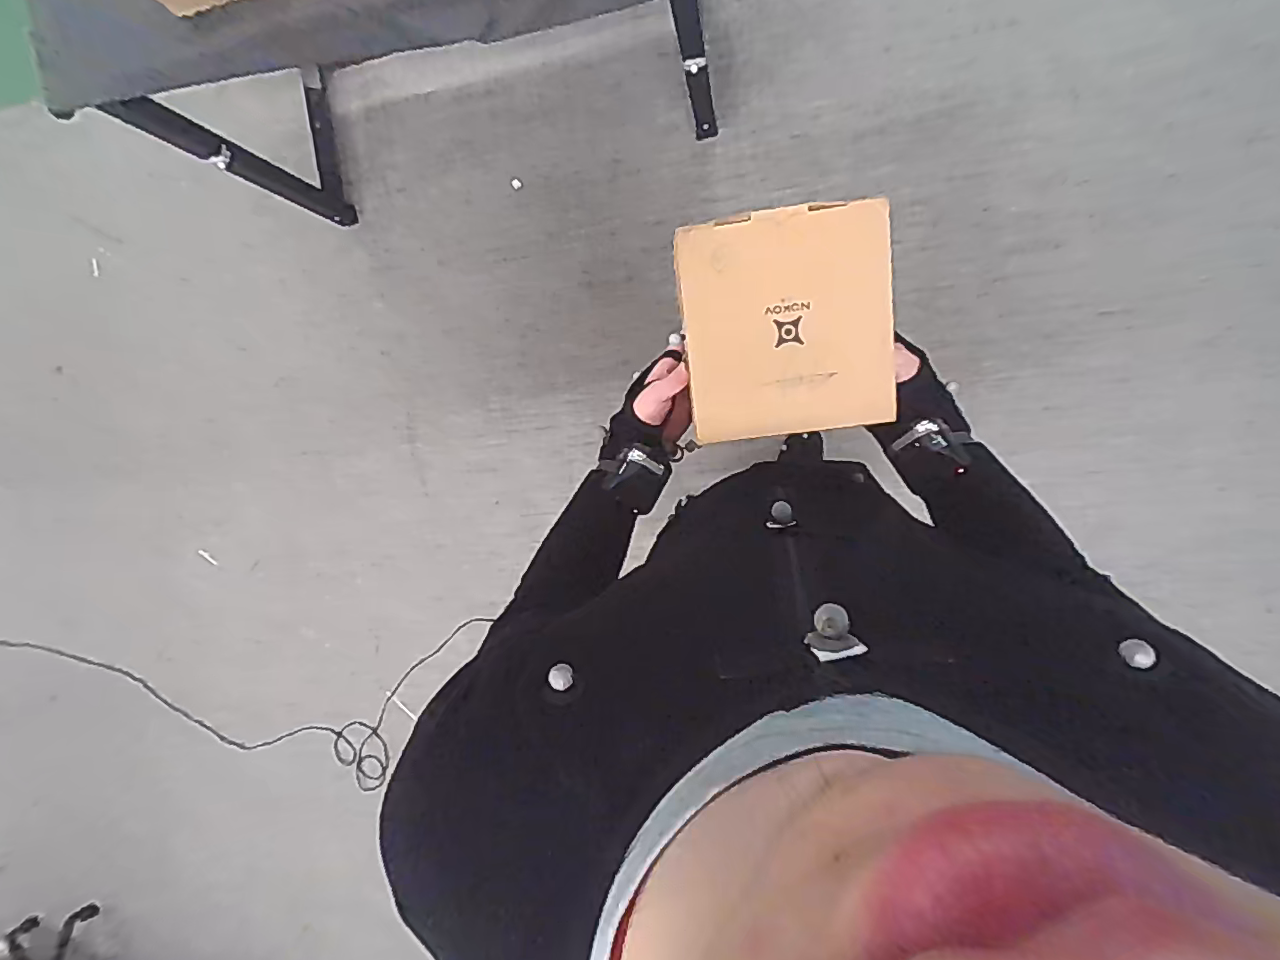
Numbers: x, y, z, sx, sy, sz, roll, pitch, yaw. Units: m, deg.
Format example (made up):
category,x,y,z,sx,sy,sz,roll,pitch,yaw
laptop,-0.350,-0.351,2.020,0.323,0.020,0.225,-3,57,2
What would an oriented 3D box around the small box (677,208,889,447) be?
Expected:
category,x,y,z,sx,sy,sz,roll,pitch,yaw
small box,0.123,-0.135,0.516,0.168,0.176,0.179,-5,102,6
